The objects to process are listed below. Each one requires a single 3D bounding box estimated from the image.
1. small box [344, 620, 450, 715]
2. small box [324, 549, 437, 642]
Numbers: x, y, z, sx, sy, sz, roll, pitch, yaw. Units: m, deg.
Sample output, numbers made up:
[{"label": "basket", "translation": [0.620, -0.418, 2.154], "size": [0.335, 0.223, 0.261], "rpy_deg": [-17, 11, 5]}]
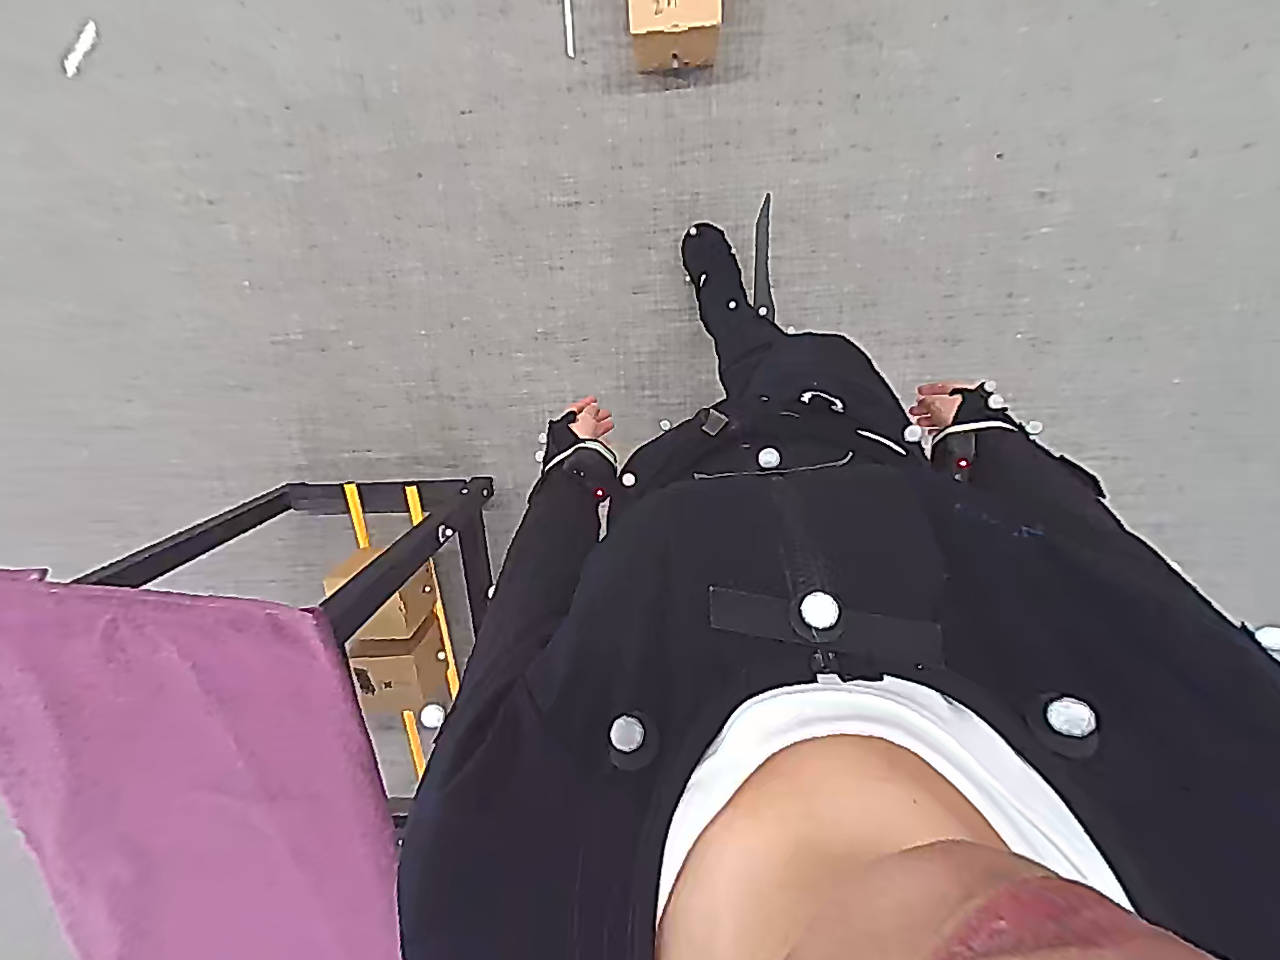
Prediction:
[{"label": "small box", "translation": [-0.612, 0.473, 1.382], "size": [0.179, 0.176, 0.168], "rpy_deg": [-3, 108, 3]}, {"label": "small box", "translation": [-0.622, 0.277, 1.317], "size": [0.179, 0.176, 0.168], "rpy_deg": [-3, 108, 3]}]
